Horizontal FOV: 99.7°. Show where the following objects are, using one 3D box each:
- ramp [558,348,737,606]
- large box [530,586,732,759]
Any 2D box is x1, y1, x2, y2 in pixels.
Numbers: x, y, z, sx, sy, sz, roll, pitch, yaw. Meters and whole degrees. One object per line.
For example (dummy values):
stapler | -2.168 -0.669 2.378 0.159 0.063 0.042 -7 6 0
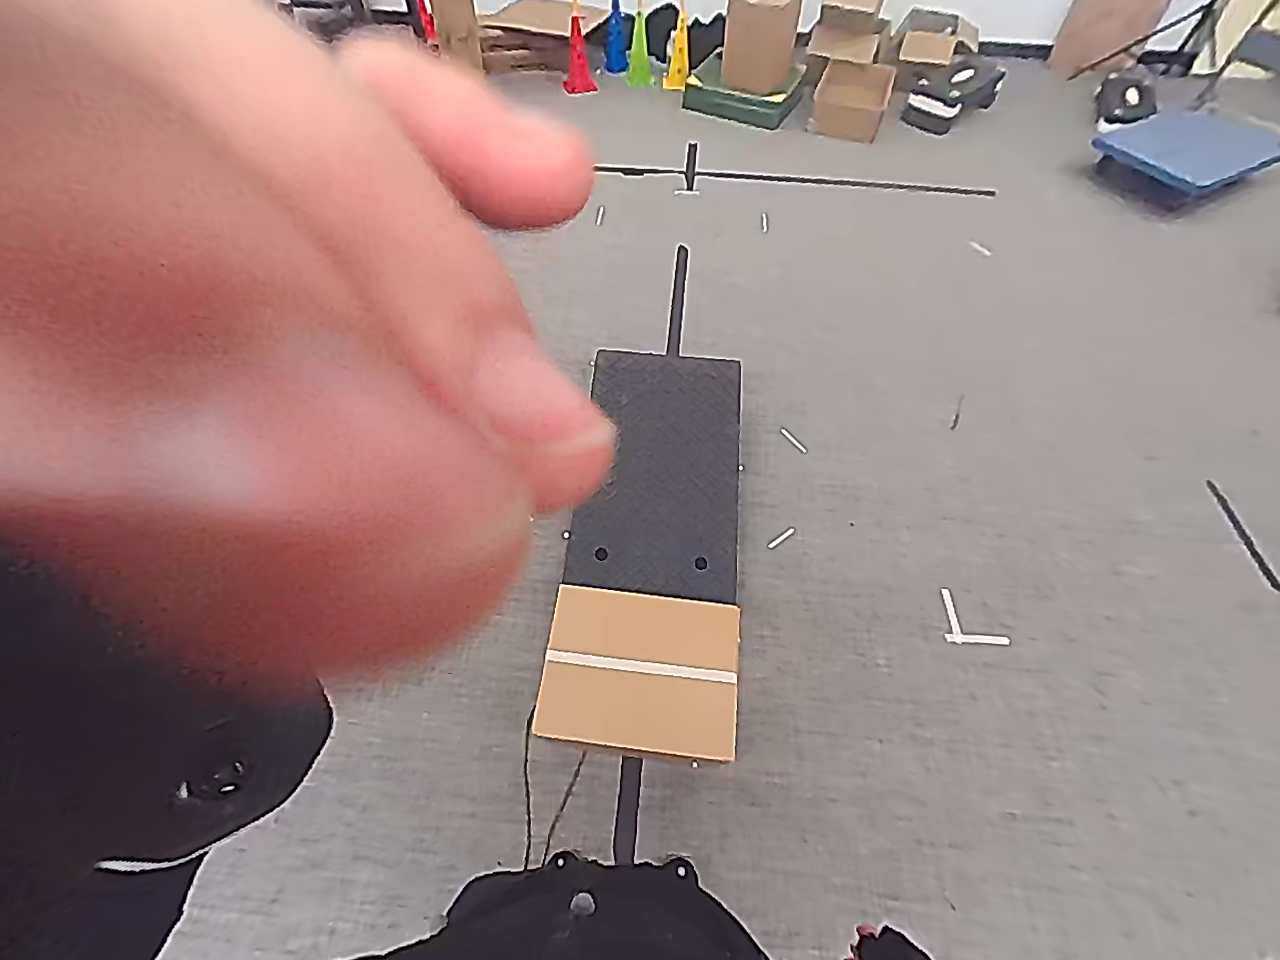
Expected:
ramp | 0.044 0.029 1.643 0.509 0.206 0.991 5 56 -1
large box | -0.009 0.462 1.269 0.408 0.320 0.320 7 60 2
